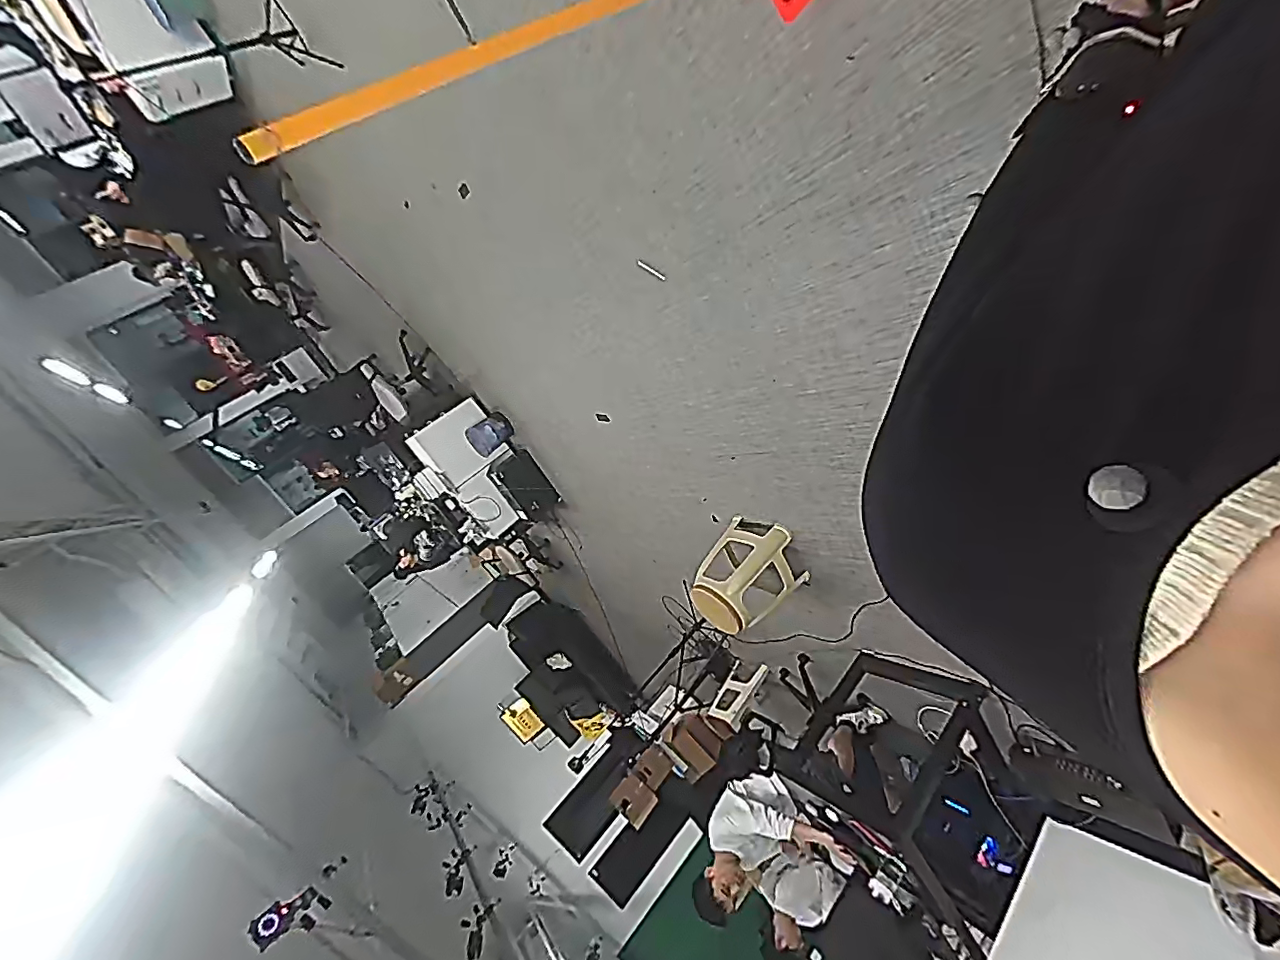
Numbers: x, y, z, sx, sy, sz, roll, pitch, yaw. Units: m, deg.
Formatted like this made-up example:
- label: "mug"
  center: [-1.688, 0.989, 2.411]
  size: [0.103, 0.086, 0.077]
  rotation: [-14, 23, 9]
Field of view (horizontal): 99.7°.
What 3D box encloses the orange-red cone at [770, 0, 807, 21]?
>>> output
- label: "orange-red cone"
  center: [0.199, -0.996, 1.027]
  size: [0.198, 0.360, 0.199]
  rotation: [54, 153, -13]
